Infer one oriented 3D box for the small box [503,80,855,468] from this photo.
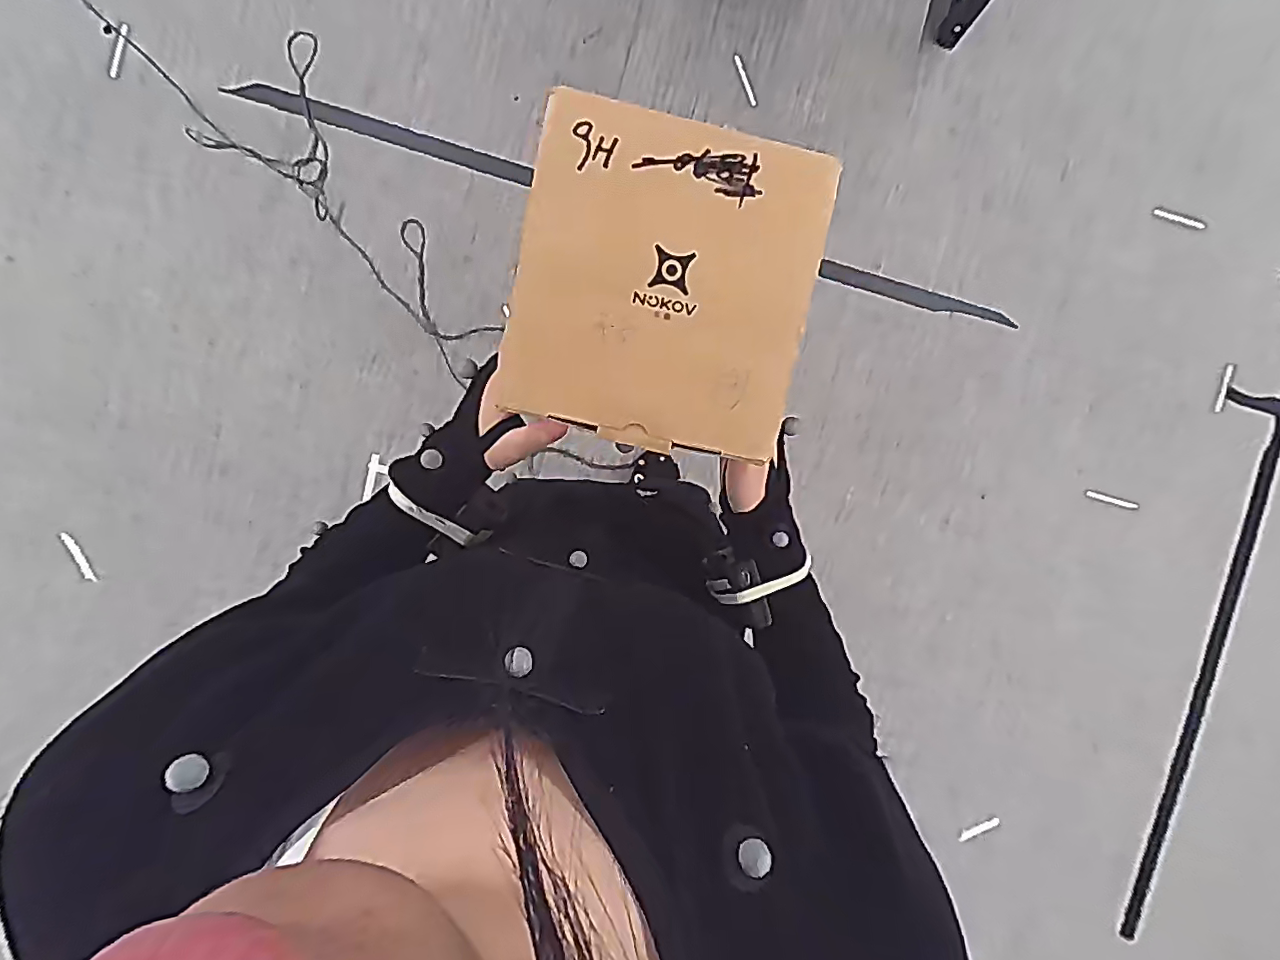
[{"bbox_3d":[0.016,-0.119,0.375,0.168,0.176,0.179,12,98,-6],"label":"small box"}]
